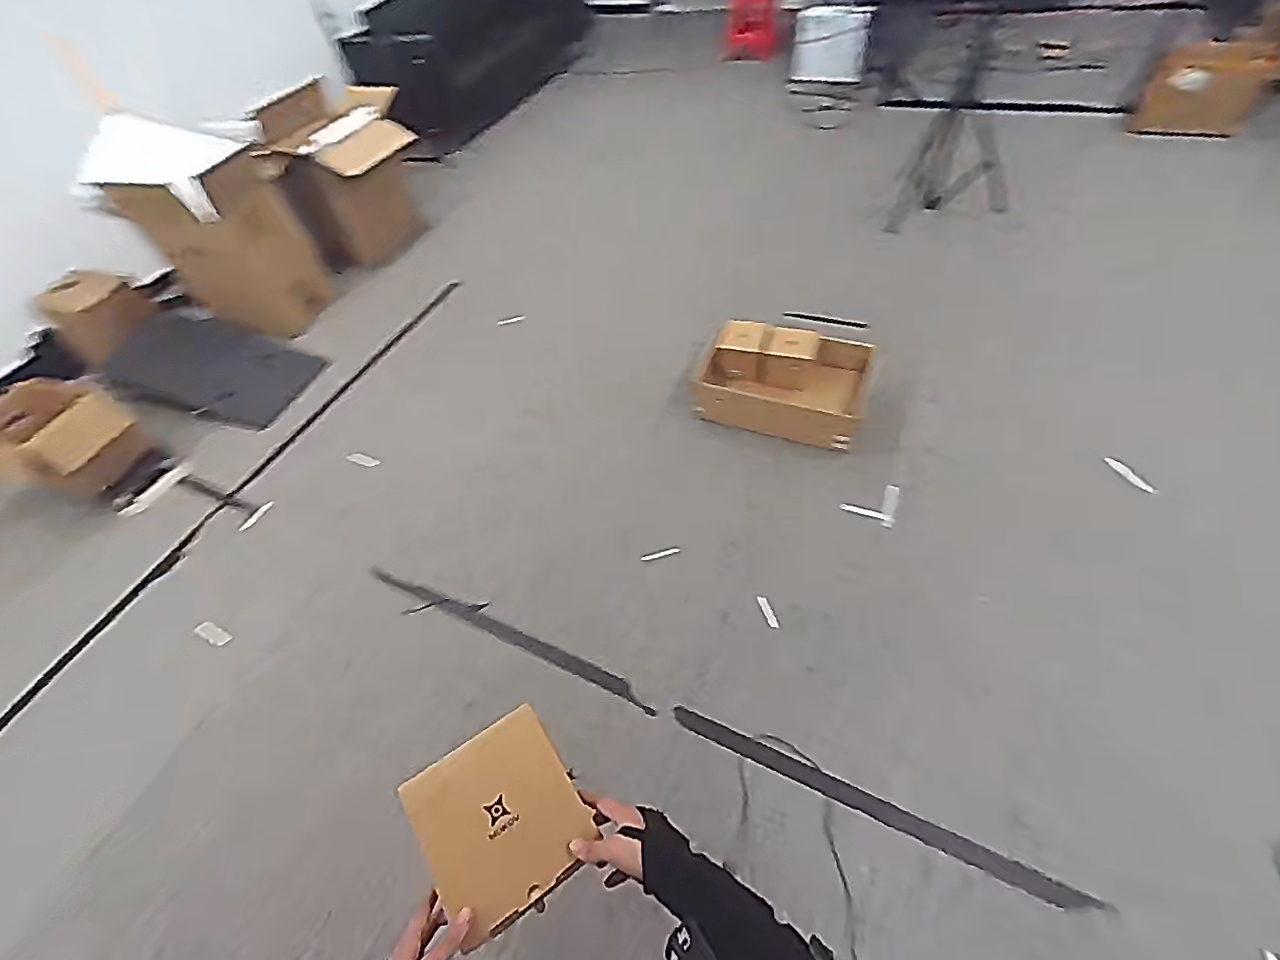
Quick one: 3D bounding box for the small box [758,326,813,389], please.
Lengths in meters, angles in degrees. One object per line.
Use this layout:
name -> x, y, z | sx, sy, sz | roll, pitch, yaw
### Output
small box -> 0.575, -0.482, 2.140 | 0.179, 0.176, 0.168 | 11, 56, 16
